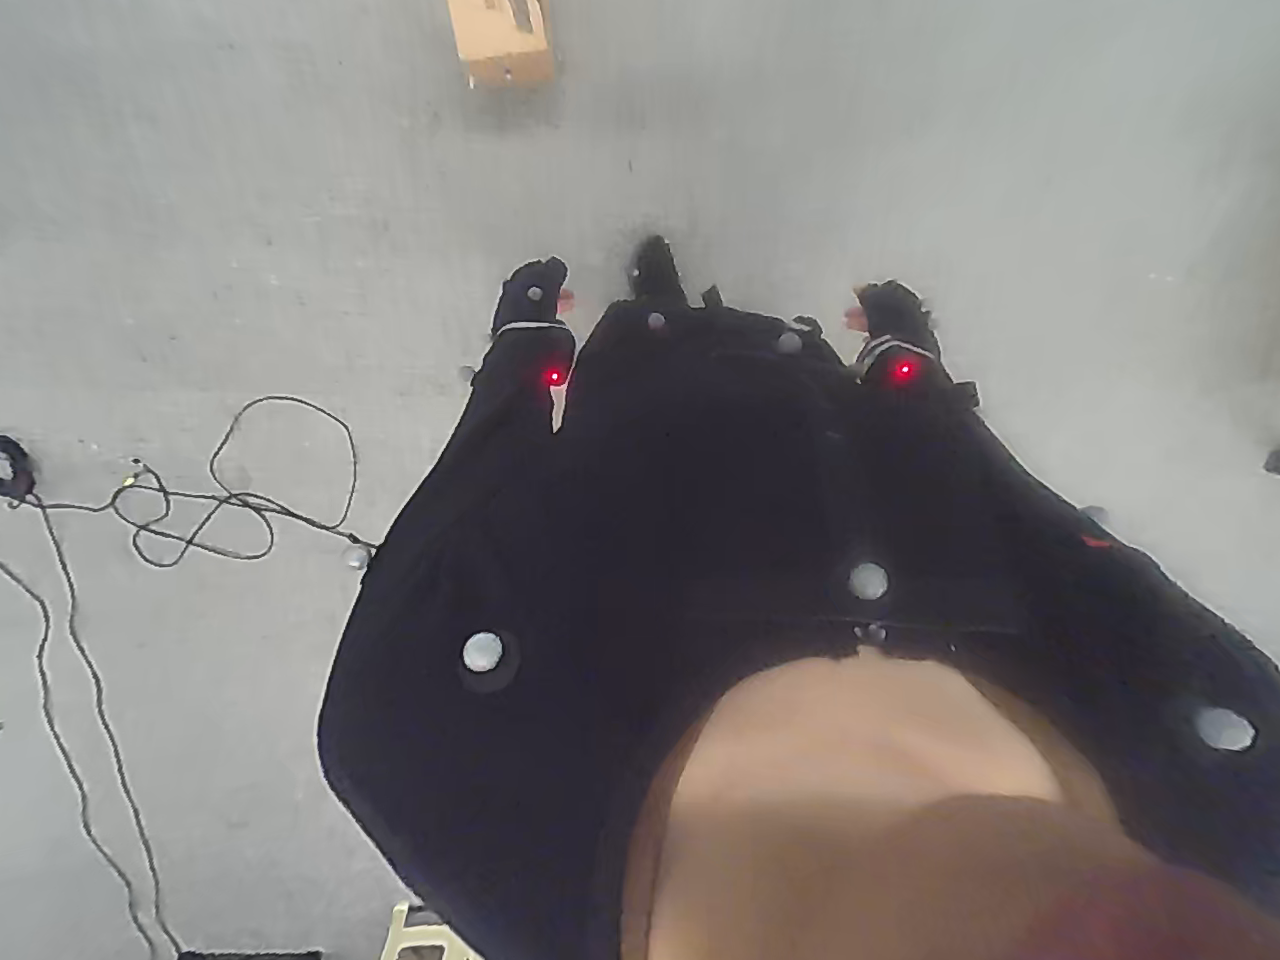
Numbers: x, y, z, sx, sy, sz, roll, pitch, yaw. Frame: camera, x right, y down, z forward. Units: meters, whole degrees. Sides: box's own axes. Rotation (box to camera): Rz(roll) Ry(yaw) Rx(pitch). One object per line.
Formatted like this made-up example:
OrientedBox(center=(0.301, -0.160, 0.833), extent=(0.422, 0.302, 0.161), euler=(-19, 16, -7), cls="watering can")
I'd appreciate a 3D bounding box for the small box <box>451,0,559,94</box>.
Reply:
OrientedBox(center=(-0.267, -0.916, 1.098), extent=(0.179, 0.176, 0.168), euler=(-6, 109, 3), cls="small box")
